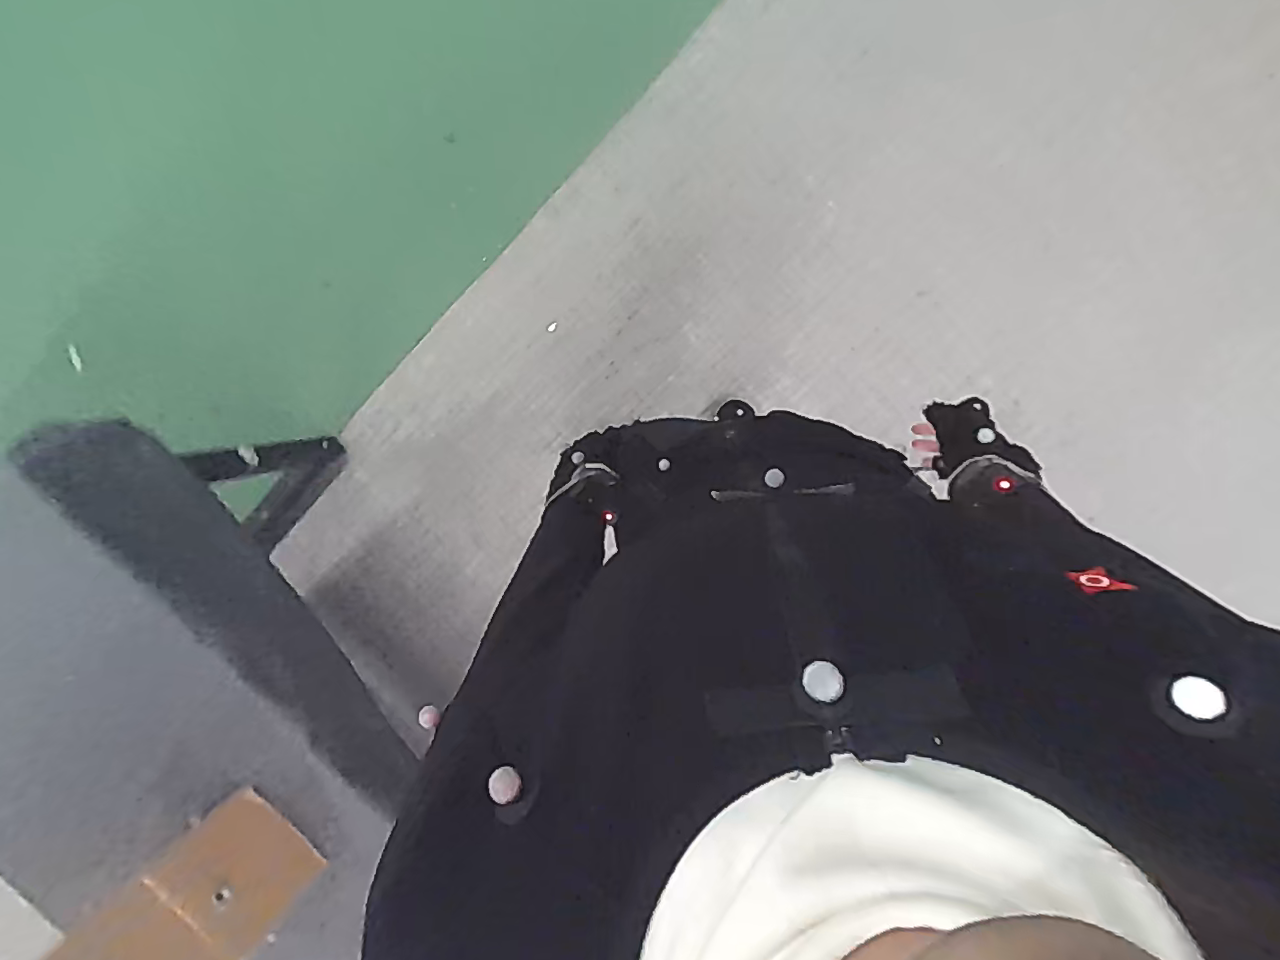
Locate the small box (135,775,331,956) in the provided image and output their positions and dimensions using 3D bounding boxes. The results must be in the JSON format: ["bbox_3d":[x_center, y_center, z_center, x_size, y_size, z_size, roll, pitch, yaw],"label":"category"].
[{"bbox_3d":[-0.604,0.583,0.790,0.168,0.176,0.179,-44,92,10],"label":"small box"}]
